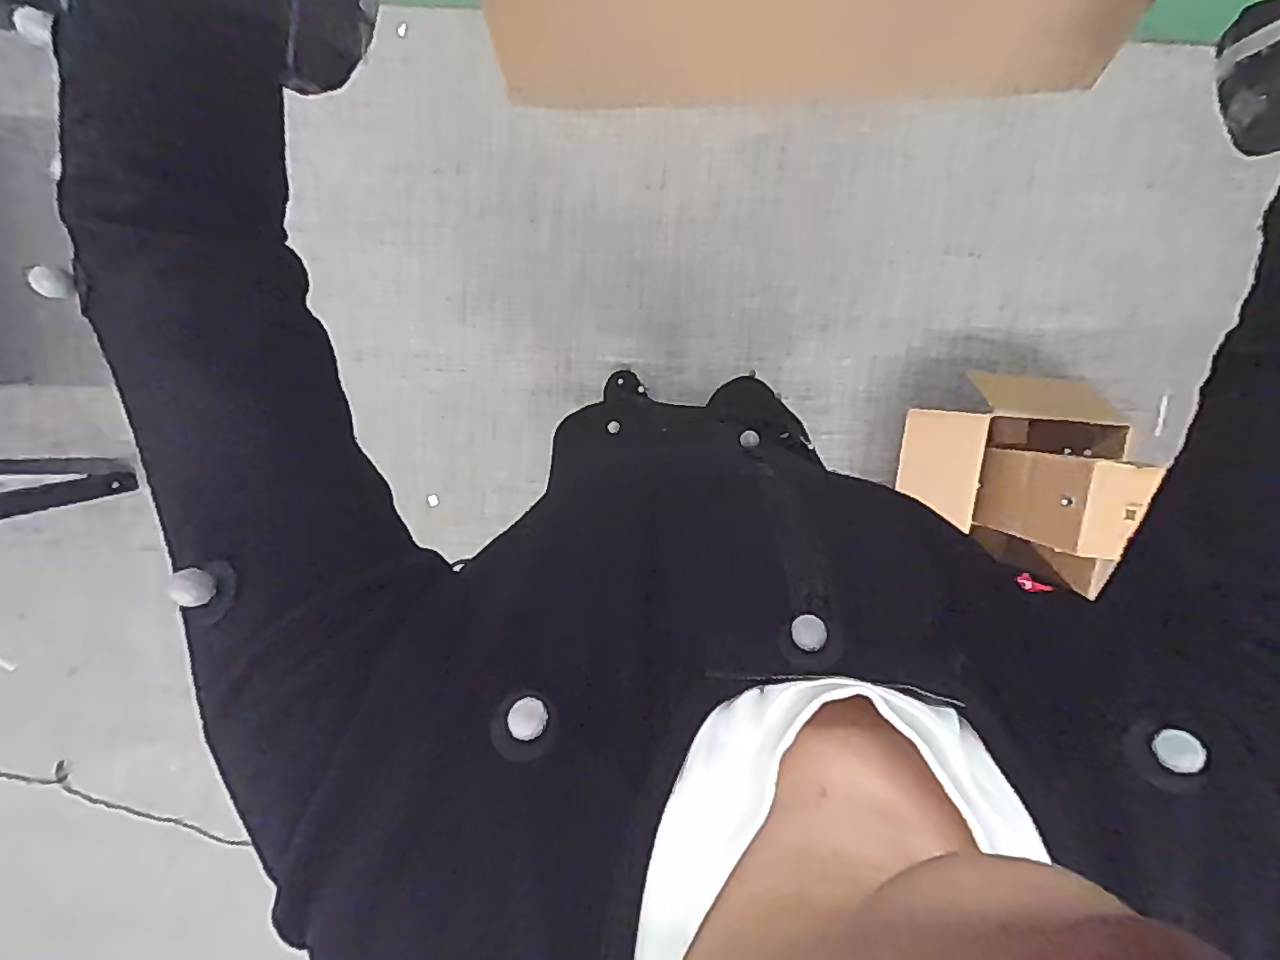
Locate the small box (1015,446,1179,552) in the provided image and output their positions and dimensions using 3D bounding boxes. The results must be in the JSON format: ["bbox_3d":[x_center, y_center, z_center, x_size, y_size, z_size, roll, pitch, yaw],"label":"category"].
[{"bbox_3d":[0.872,0.030,1.050,0.168,0.176,0.179,5,98,-1],"label":"small box"}]
